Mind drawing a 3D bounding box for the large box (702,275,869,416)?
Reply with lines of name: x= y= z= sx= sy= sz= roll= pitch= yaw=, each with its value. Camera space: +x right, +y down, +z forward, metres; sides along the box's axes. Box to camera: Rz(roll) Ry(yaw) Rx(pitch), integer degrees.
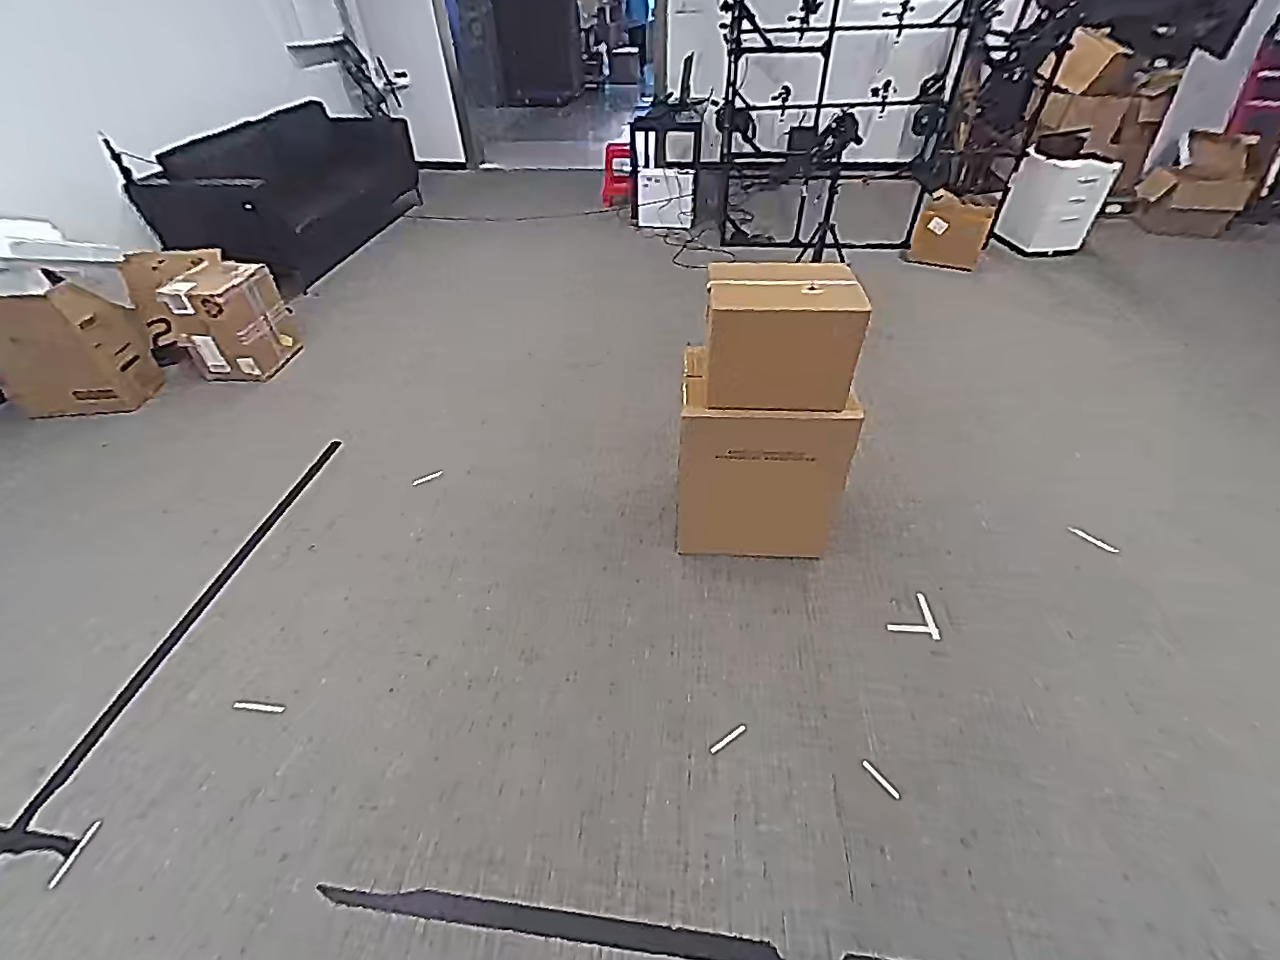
large box: x=0.398 y=-0.399 z=1.601 sx=0.408 sy=0.320 sz=0.320 roll=2 pitch=43 yaw=3
